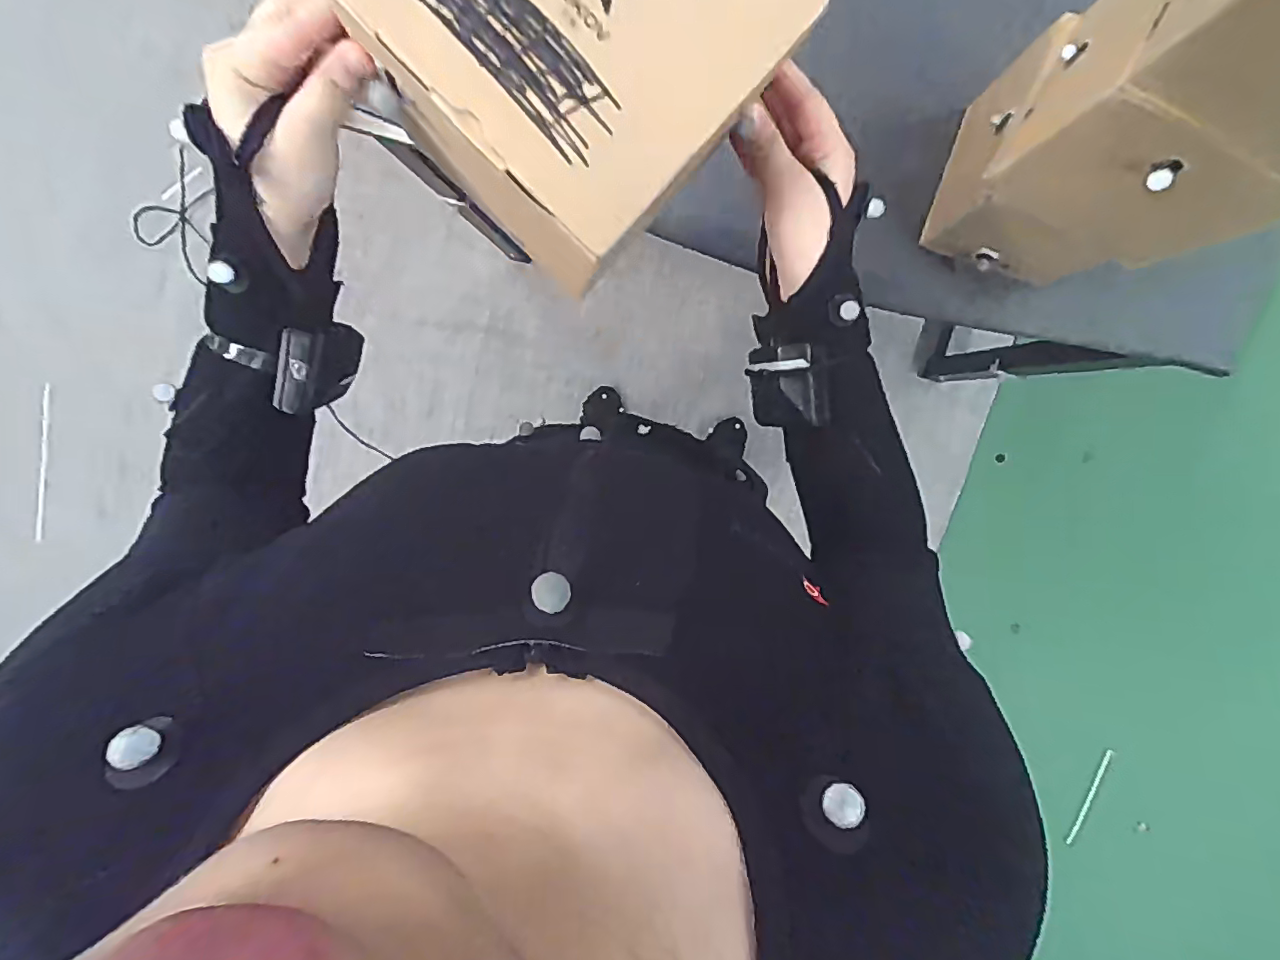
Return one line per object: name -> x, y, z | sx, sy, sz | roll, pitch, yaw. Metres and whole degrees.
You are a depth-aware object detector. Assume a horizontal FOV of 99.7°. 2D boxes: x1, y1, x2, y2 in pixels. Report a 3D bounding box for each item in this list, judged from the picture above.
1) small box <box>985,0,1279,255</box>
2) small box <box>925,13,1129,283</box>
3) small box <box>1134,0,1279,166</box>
small box -> 0.437, -0.306, 0.435 | 0.179, 0.176, 0.168 | 28, 98, 0
small box -> 0.449, -0.341, 0.594 | 0.168, 0.176, 0.179 | 17, 98, 1
small box -> 0.432, -0.286, 0.272 | 0.179, 0.176, 0.168 | 30, 97, 0
